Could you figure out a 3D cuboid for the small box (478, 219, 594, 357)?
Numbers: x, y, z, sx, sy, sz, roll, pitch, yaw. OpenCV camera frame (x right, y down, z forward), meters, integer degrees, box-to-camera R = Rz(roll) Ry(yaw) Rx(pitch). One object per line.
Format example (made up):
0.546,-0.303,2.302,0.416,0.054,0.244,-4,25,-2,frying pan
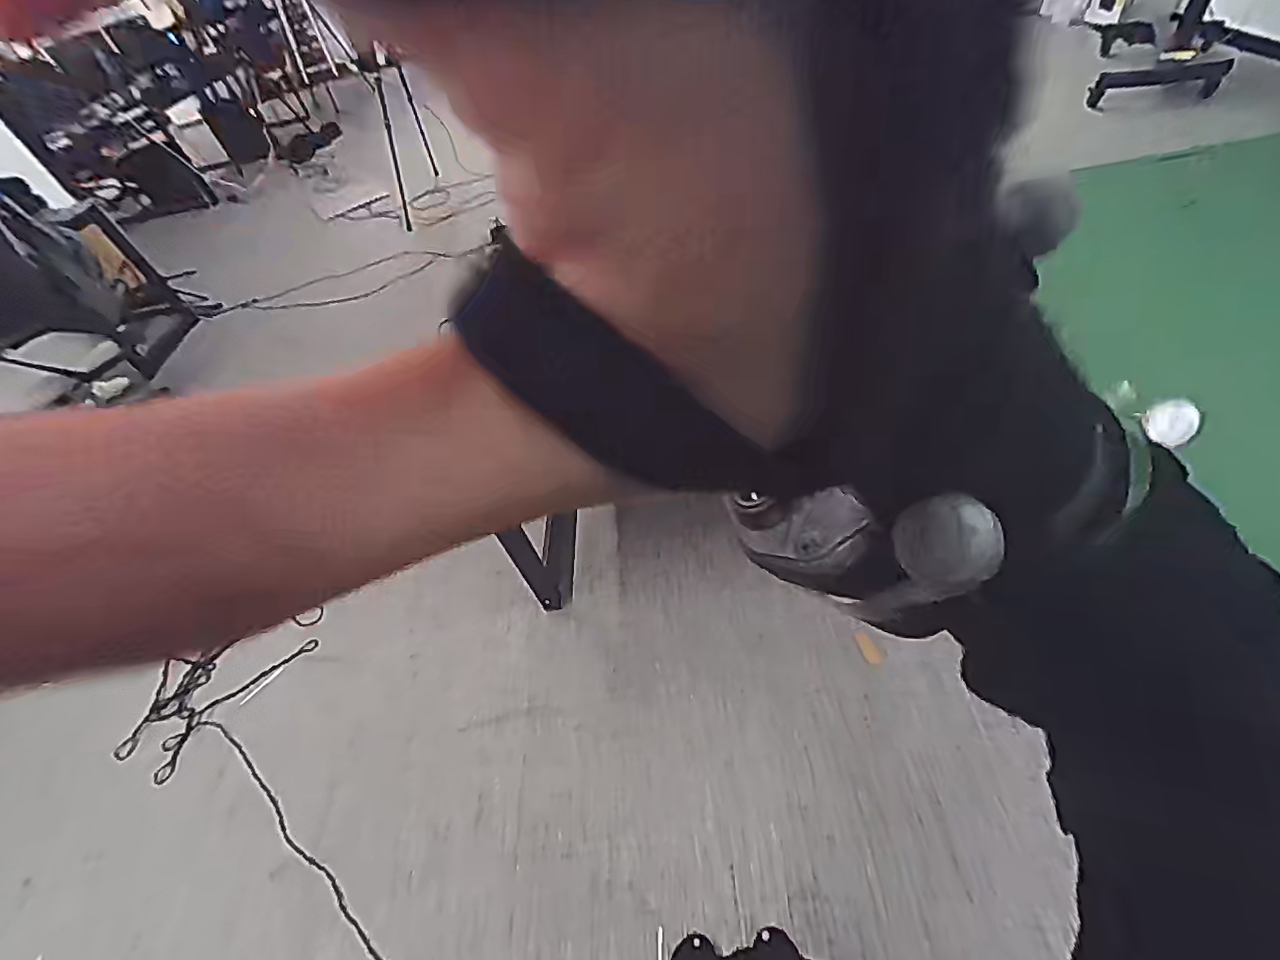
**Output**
-0.188,-0.347,1.003,0.168,0.176,0.179,-13,50,1,small box
